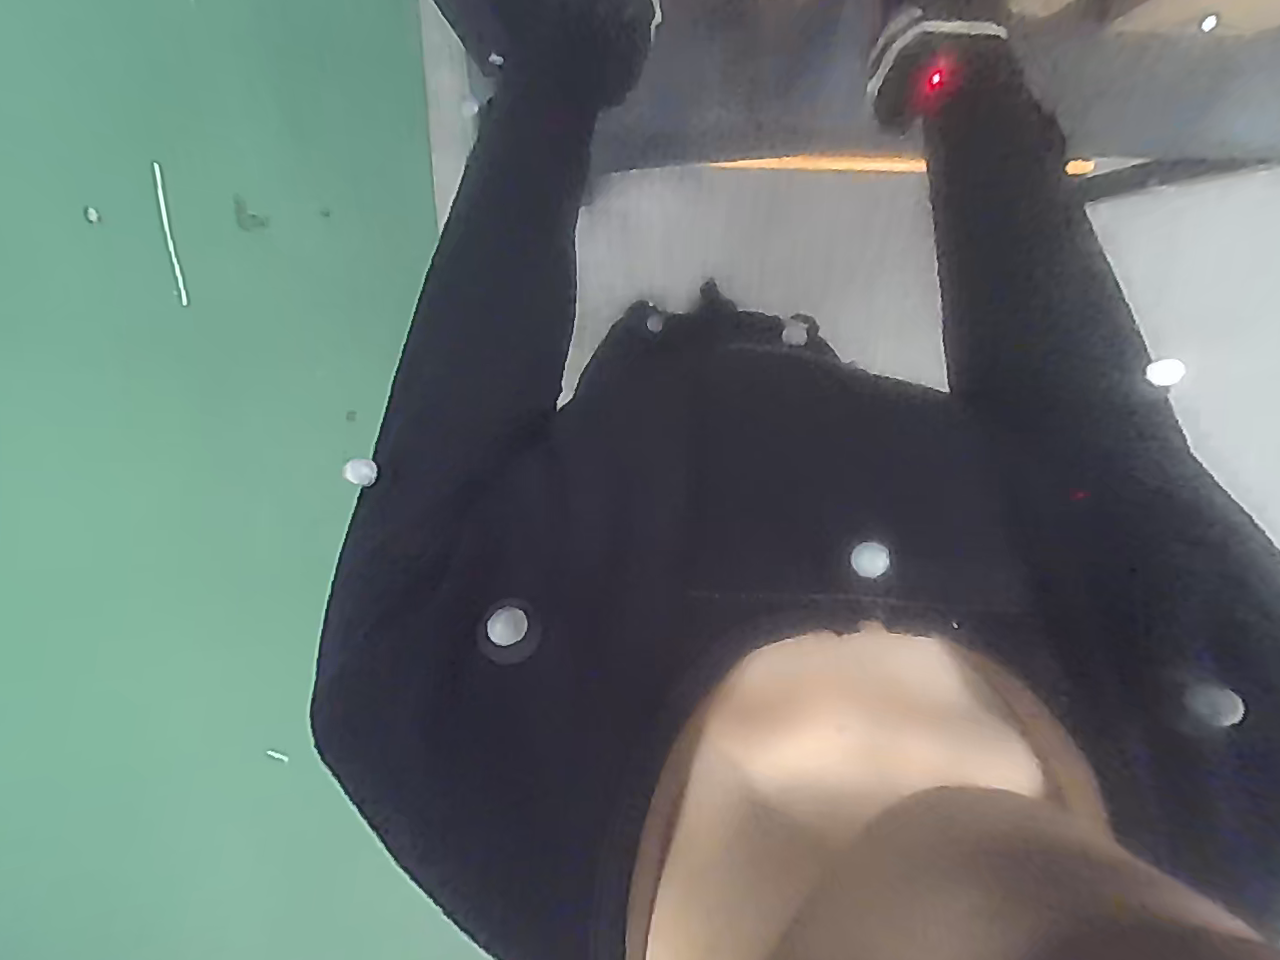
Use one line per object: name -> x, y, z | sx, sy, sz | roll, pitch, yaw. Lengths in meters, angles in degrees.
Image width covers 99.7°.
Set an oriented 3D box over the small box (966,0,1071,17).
small box -> 0.373, -0.560, 0.480 | 0.168, 0.176, 0.179 | 7, 108, -2
